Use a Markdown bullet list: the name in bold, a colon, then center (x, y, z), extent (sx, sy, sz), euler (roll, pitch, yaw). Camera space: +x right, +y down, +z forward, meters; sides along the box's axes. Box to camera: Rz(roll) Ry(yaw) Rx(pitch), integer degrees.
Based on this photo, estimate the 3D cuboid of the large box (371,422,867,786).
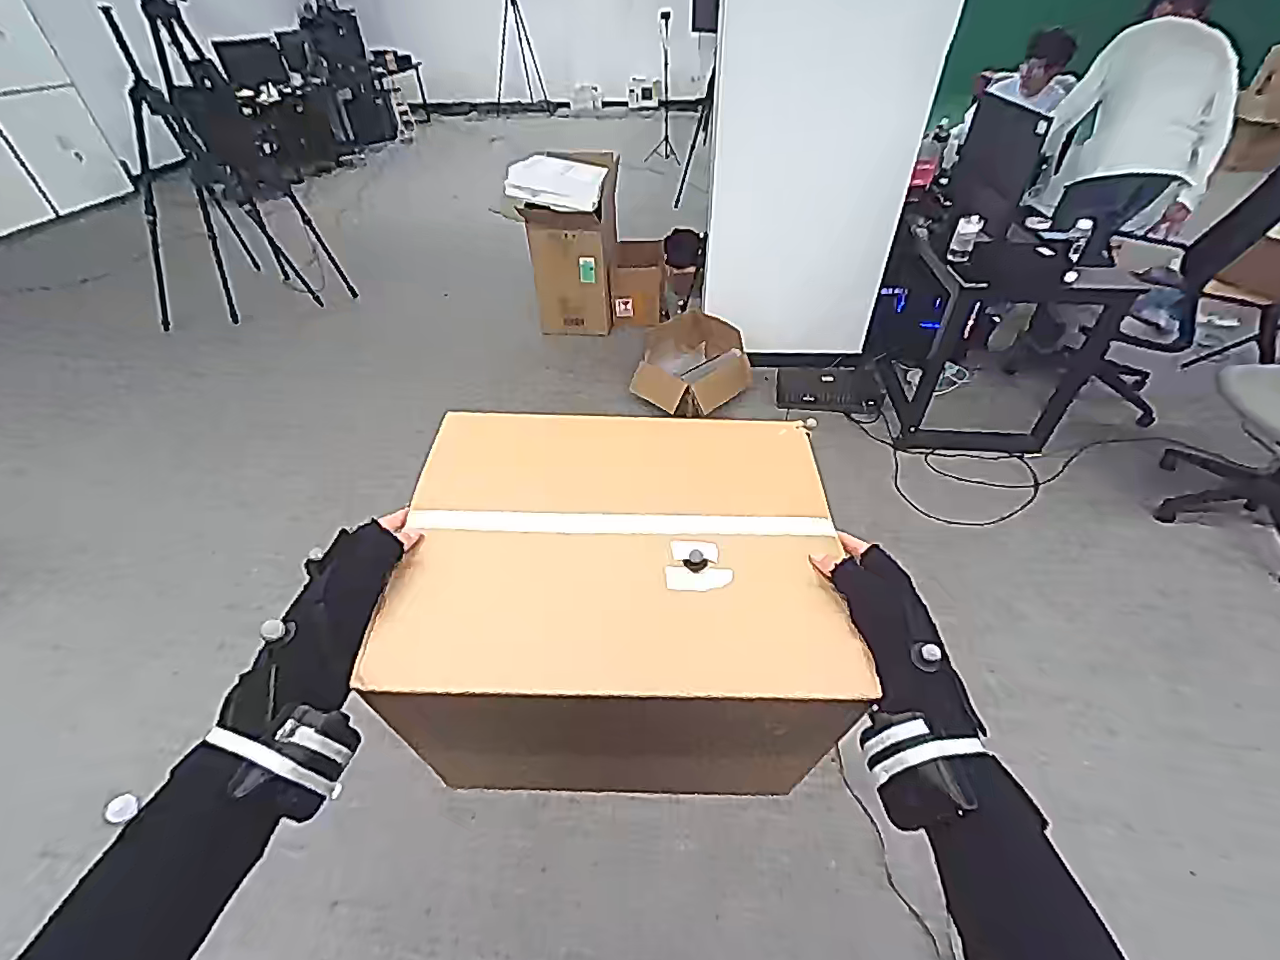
- **large box**: center (-0.021, 0.150, 0.634), extent (0.408, 0.320, 0.320), euler (2, 48, -1)
